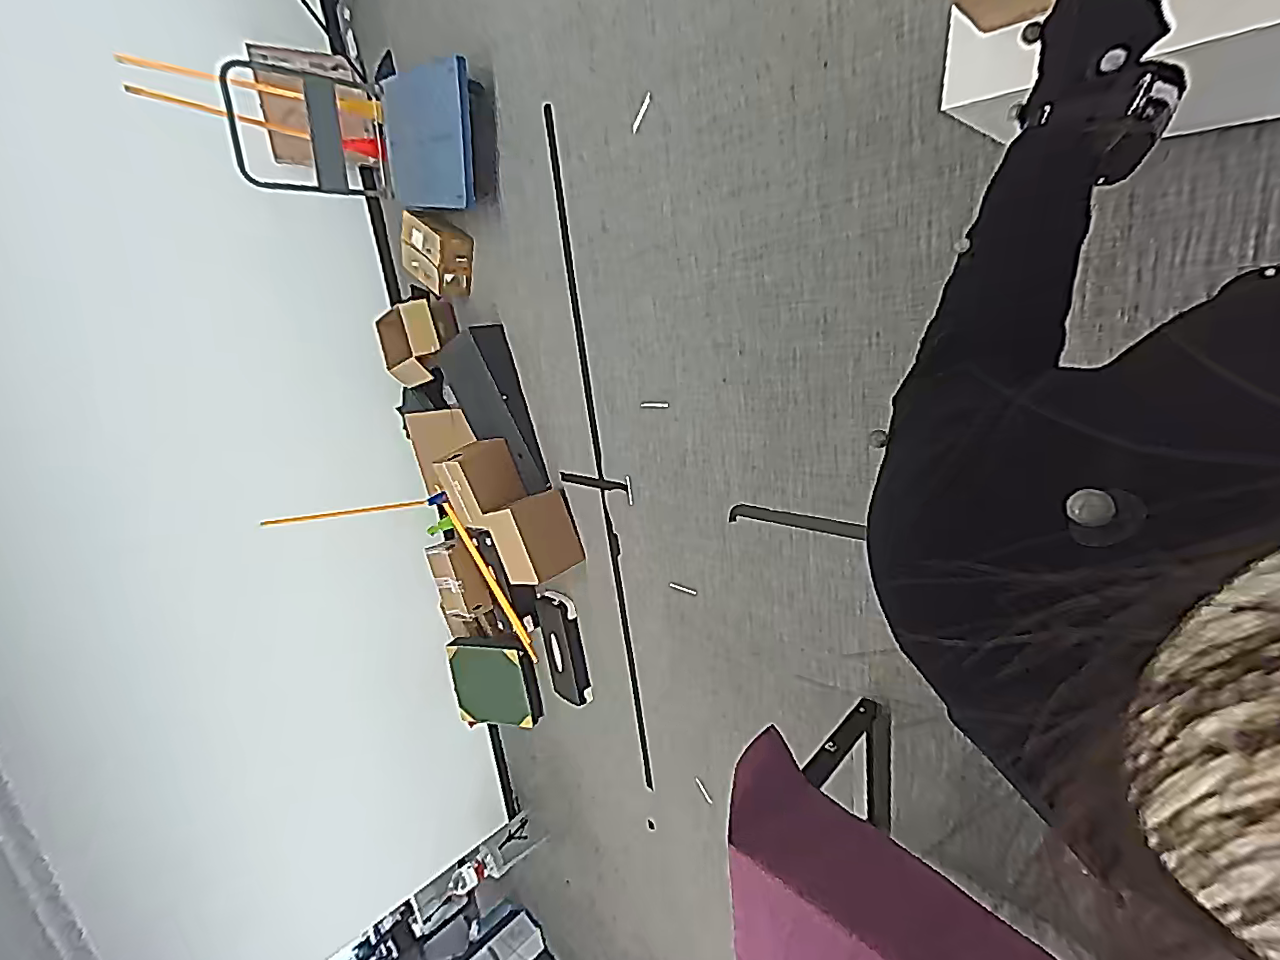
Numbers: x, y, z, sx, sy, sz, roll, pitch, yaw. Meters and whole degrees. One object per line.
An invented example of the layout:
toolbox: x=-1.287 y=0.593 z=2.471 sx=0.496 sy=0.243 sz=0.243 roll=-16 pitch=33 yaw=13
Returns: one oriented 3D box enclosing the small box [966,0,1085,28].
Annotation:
small box: x=0.441 y=-0.630 z=0.569 sx=0.168 sy=0.176 sz=0.179 roll=17 pitch=117 yaw=44
